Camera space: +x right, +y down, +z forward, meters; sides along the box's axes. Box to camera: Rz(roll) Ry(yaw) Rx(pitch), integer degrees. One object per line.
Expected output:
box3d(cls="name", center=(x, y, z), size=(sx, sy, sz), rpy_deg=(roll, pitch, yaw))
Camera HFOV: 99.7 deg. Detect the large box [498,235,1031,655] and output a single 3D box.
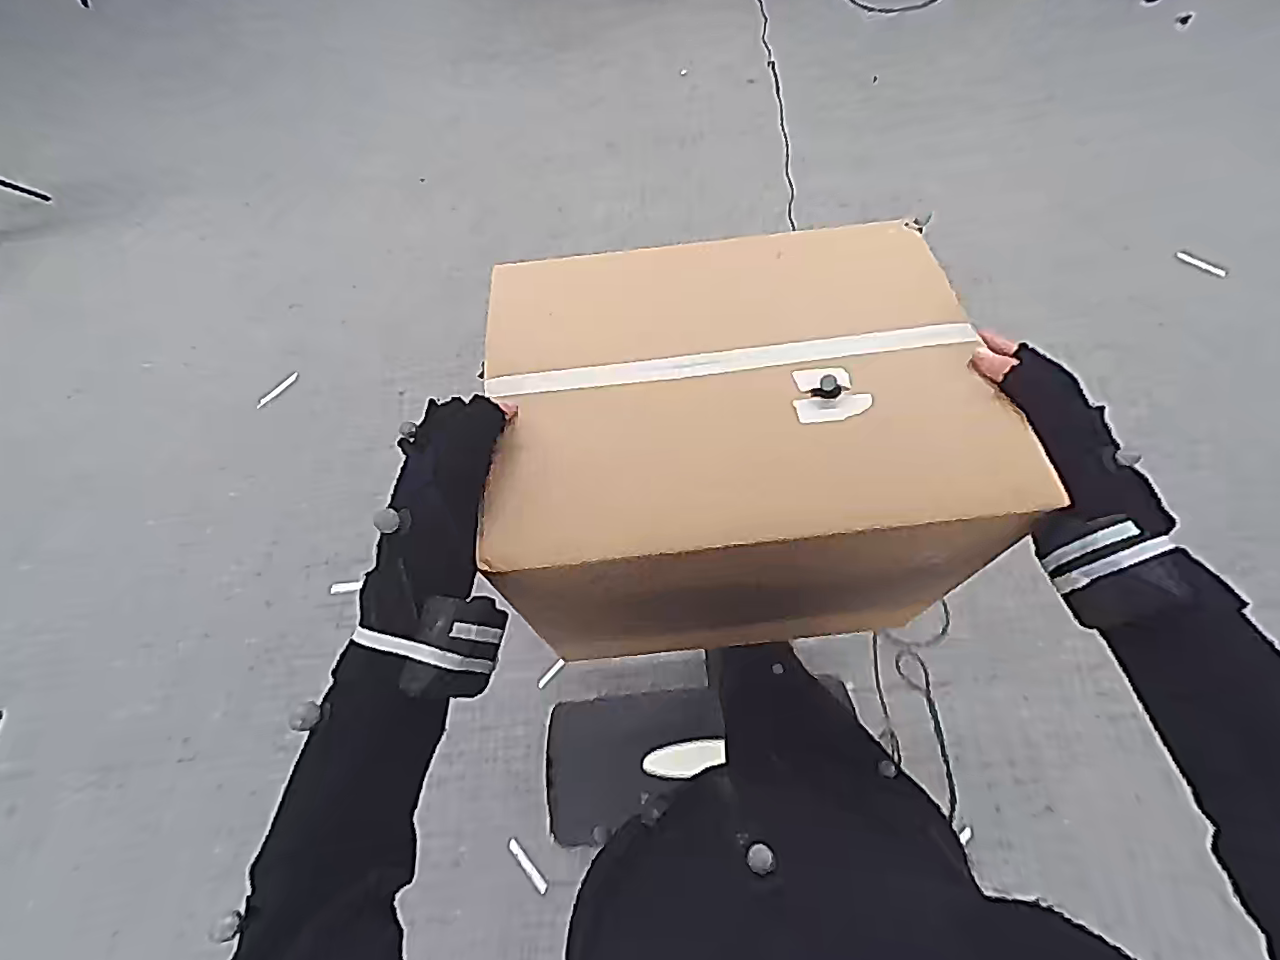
box3d(cls="large box", center=(0.083, -0.019, 0.596), size=(0.408, 0.320, 0.320), rpy_deg=(-6, 60, 0))
